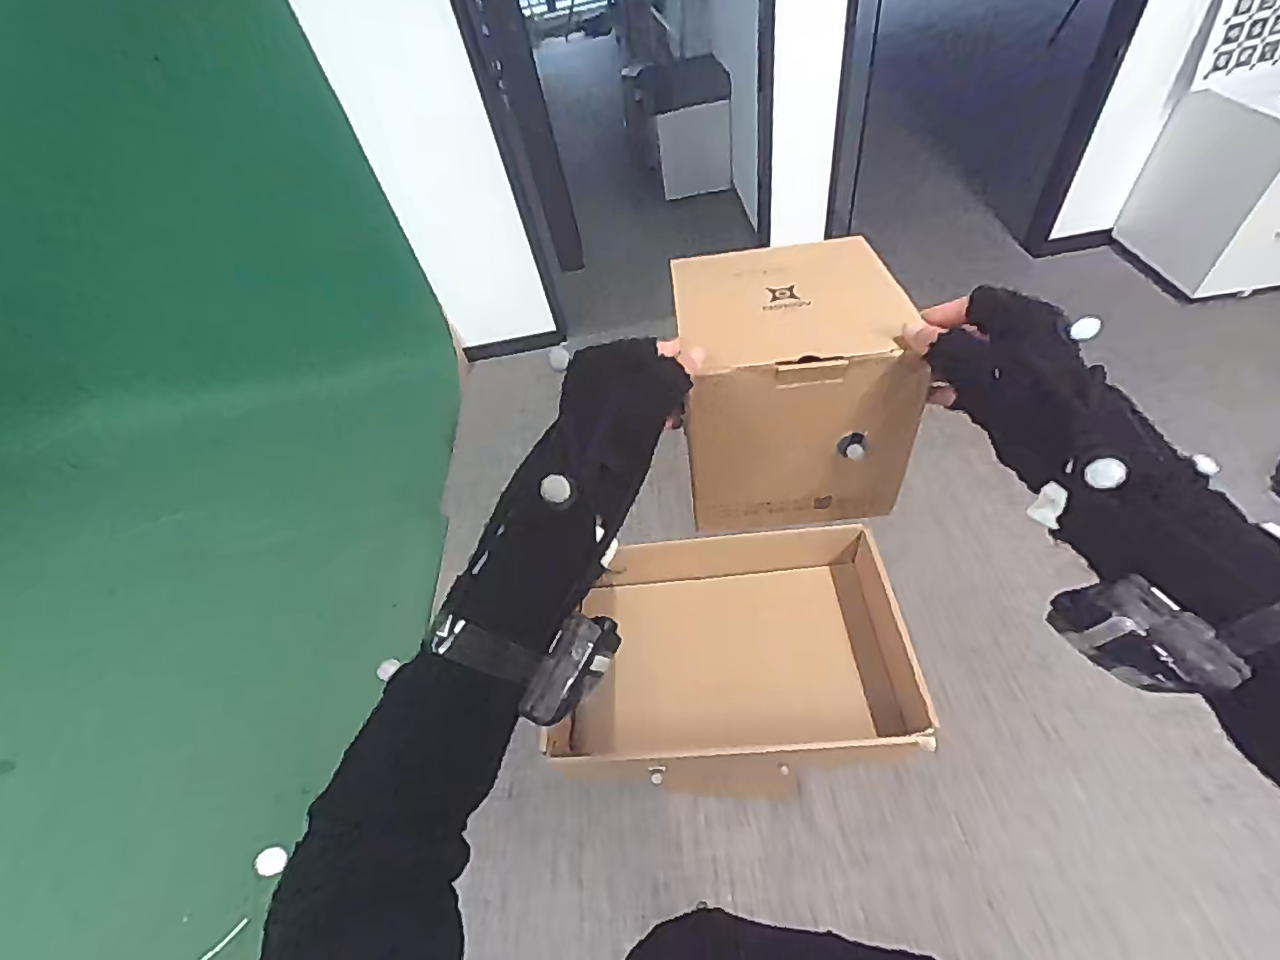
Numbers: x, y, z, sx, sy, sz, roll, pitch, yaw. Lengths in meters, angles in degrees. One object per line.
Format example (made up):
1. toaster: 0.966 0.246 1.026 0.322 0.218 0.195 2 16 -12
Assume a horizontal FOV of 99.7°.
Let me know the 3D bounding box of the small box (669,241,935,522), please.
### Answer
1. small box: 0.116 -0.077 0.459 0.168 0.176 0.179 -5 44 4
